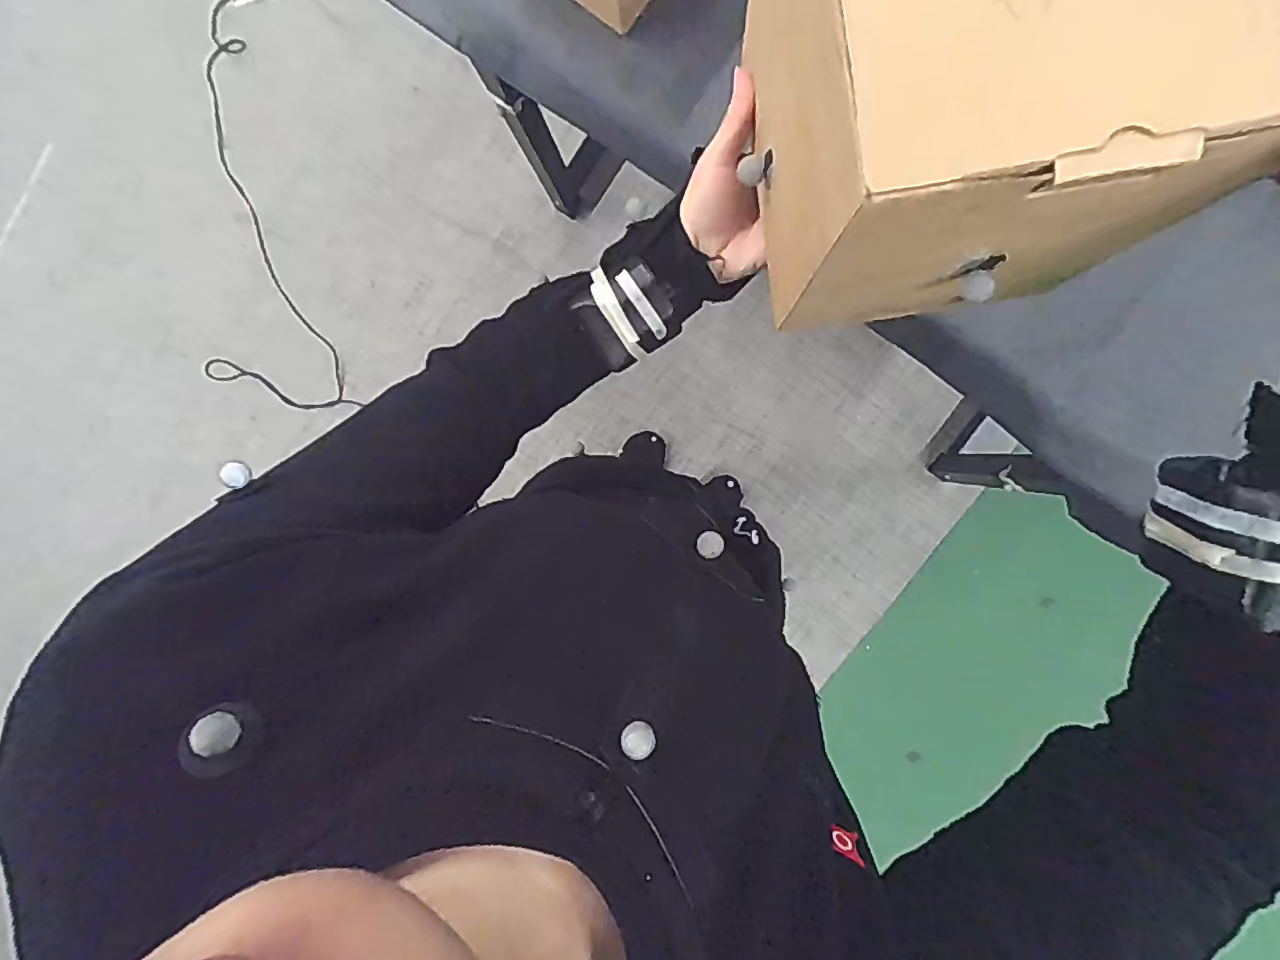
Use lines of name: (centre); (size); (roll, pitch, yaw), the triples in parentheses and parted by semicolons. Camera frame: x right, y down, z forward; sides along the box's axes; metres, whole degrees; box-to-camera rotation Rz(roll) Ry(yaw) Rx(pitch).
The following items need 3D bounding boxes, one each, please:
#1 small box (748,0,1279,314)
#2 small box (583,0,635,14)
small box: (0.150, -0.189, 0.255); (0.168, 0.176, 0.179); (-8, 90, 5)
small box: (-0.042, -0.613, 0.519); (0.179, 0.176, 0.168); (38, 94, 1)
